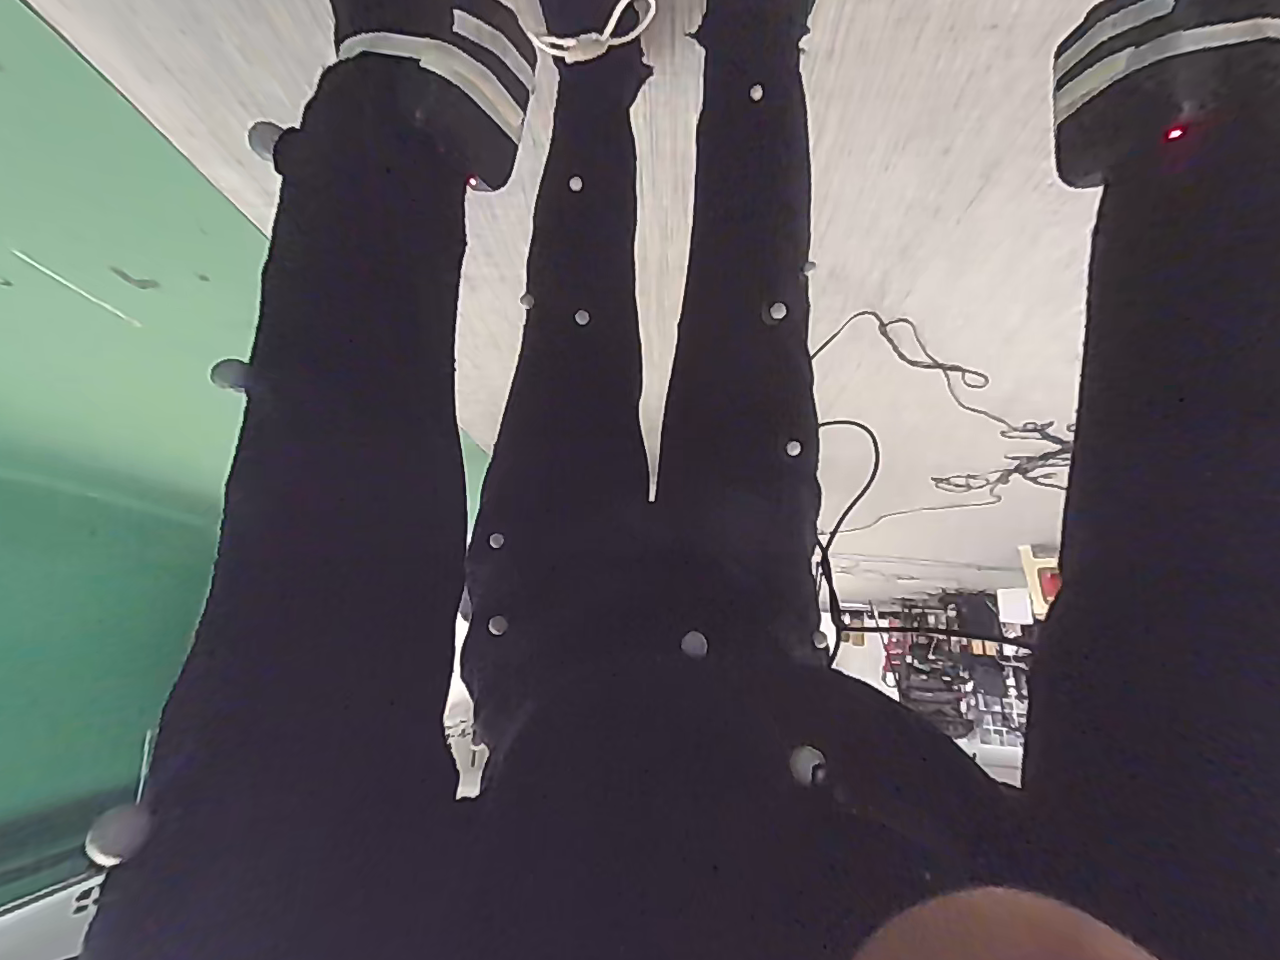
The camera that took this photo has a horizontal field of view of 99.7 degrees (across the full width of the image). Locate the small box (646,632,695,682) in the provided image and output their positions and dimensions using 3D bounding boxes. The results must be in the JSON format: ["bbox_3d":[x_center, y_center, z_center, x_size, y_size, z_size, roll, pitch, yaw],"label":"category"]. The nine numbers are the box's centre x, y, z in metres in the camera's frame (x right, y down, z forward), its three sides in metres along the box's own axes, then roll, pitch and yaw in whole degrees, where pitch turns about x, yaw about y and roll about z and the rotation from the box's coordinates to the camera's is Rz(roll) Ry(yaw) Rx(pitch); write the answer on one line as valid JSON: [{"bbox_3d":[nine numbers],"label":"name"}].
[{"bbox_3d":[0.124,0.695,2.134,0.168,0.176,0.179,0,163,13],"label":"small box"}]
